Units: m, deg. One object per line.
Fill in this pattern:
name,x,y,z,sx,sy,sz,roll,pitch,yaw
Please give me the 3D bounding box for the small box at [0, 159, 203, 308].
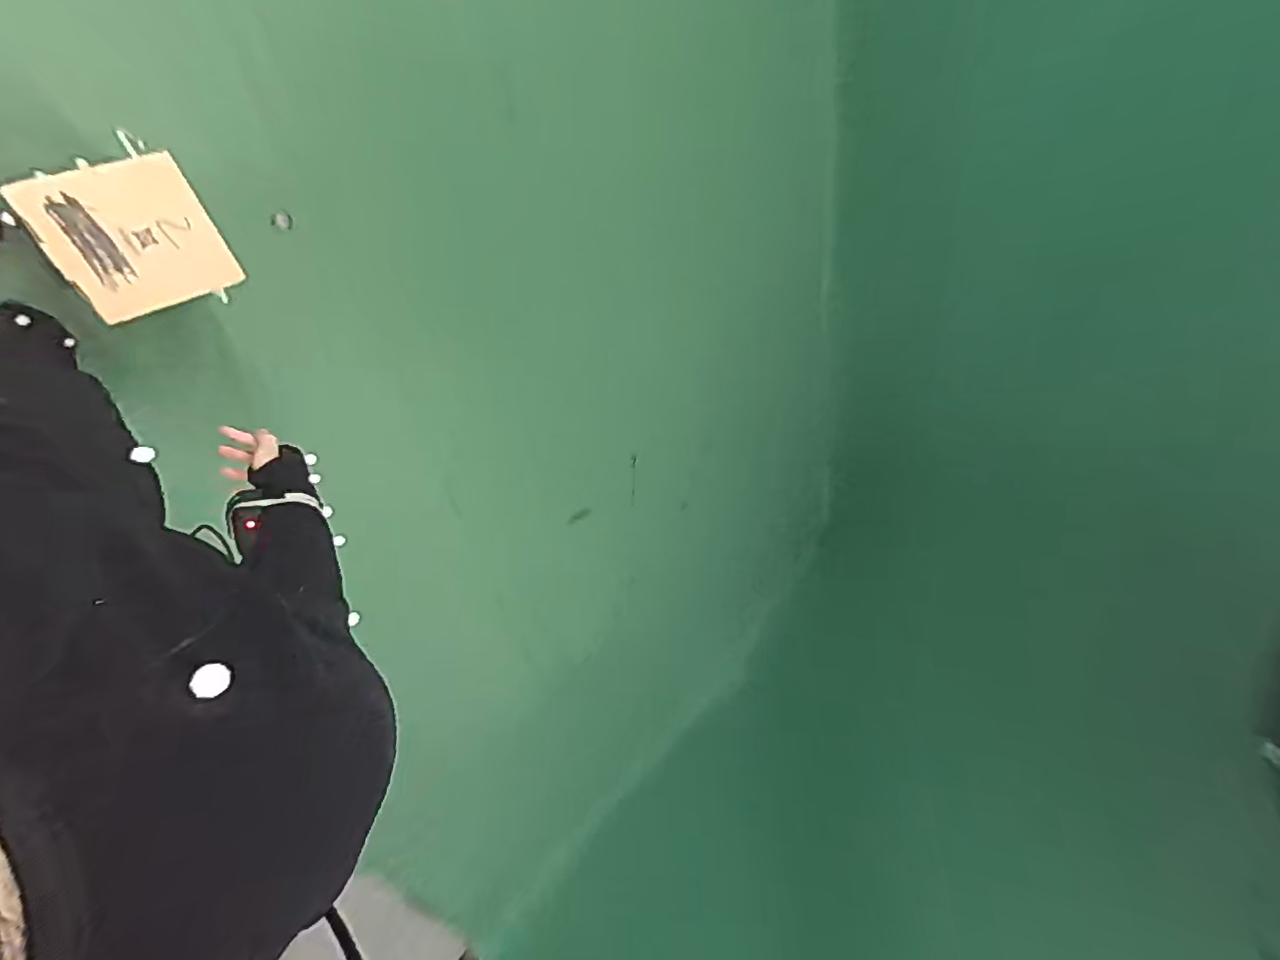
small box,-0.832,-0.381,0.831,0.179,0.176,0.168,-38,133,-32
